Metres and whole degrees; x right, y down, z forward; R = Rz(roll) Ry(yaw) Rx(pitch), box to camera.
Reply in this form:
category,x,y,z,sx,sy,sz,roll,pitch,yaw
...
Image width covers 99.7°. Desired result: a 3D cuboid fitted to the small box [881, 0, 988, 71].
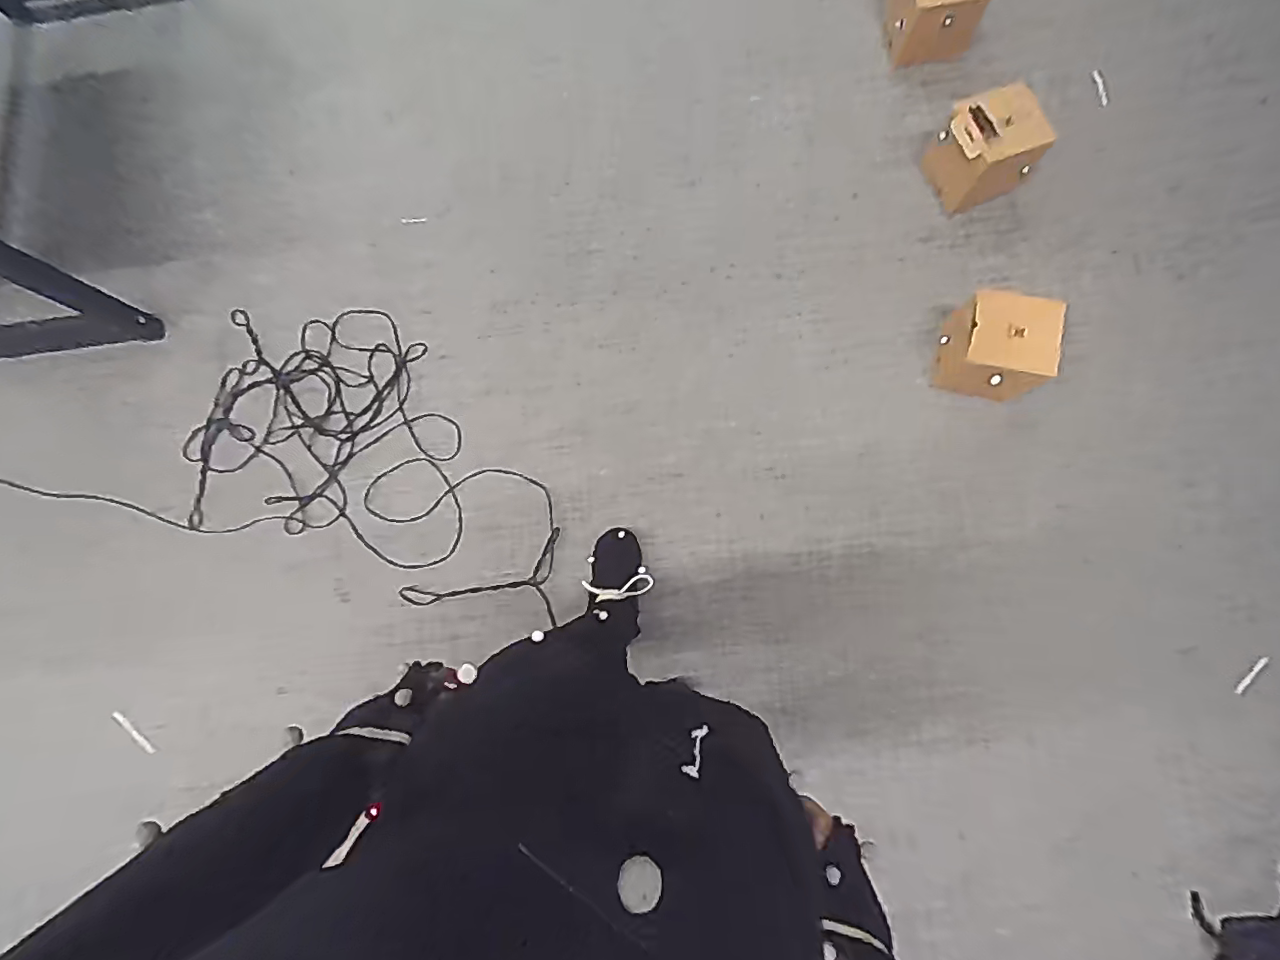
category,x,y,z,sx,sy,sz,roll,pitch,yaw
small box,0.722,-1.163,1.342,0.179,0.176,0.168,-9,80,1

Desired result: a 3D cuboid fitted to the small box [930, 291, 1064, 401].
category,x,y,z,sx,sy,sz,roll,pitch,yaw
small box,0.768,-0.283,1.177,0.179,0.176,0.168,13,81,6
